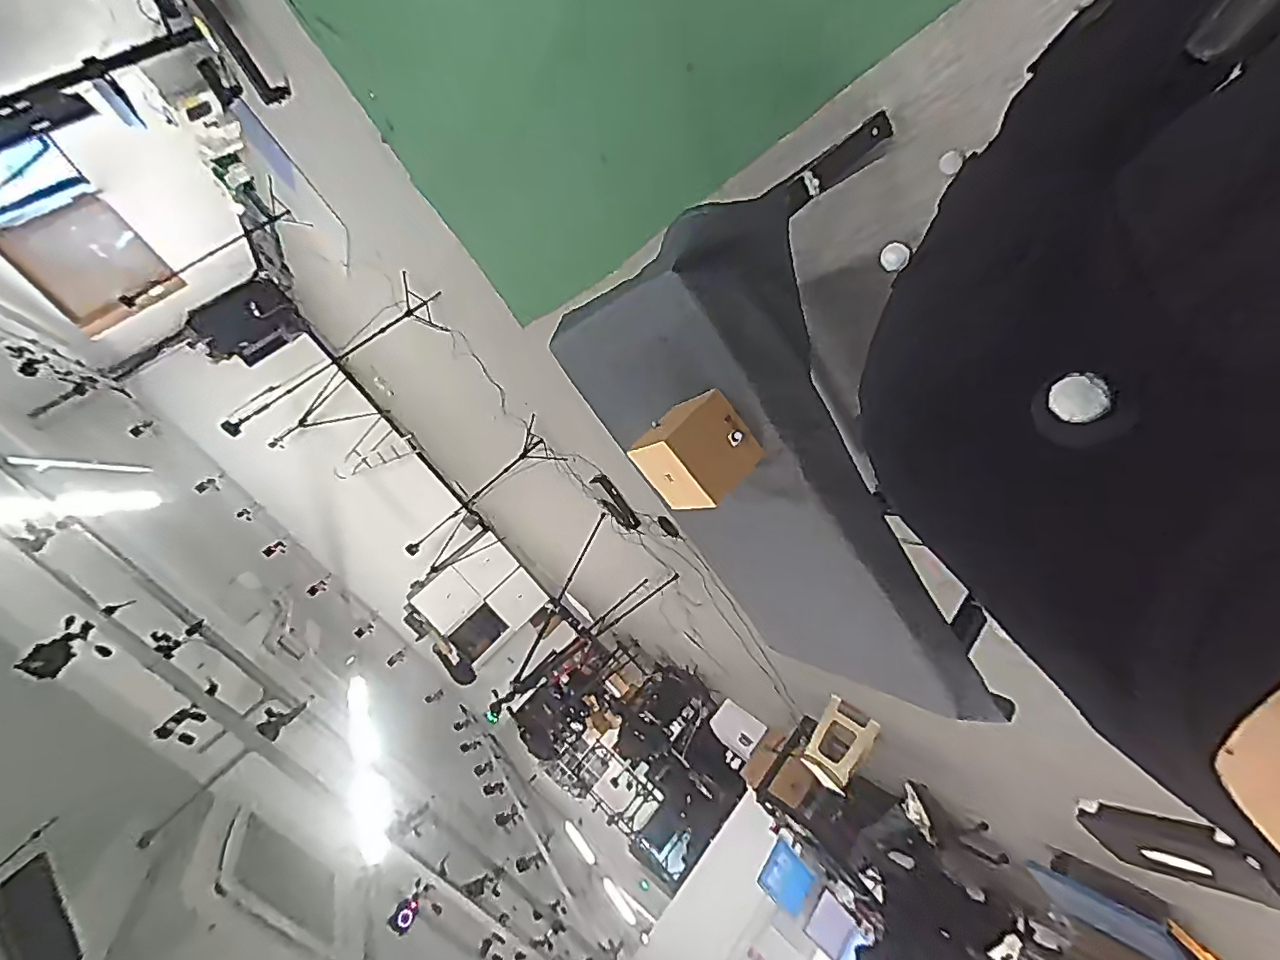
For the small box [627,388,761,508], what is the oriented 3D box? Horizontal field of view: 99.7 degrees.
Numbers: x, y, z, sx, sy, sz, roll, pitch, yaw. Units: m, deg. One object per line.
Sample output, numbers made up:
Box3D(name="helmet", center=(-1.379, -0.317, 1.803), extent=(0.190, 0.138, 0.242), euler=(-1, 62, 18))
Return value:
Box3D(name="small box", center=(0.111, -0.061, 1.096), extent=(0.168, 0.176, 0.179), euler=(49, 157, -13))
